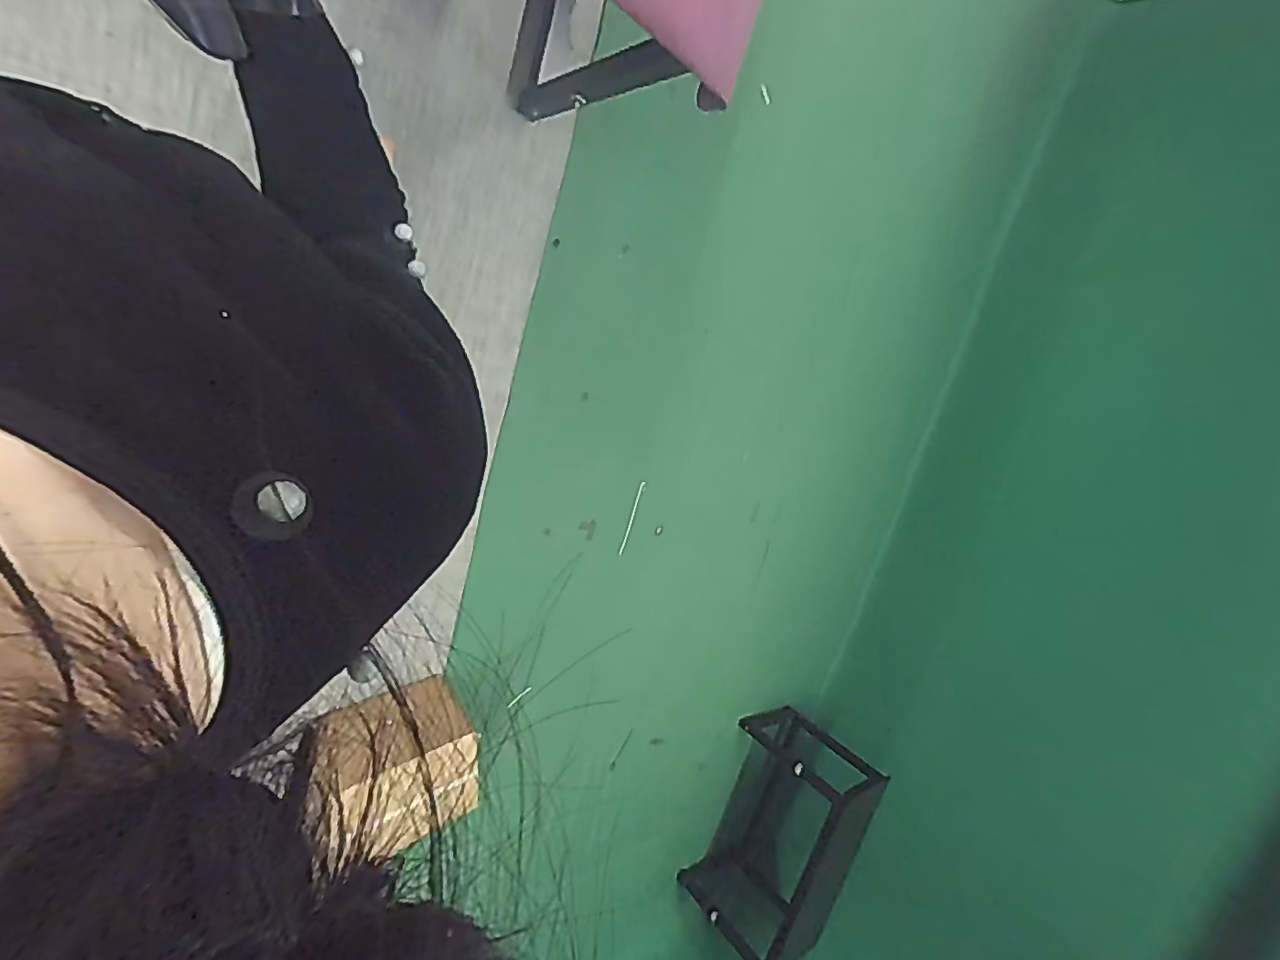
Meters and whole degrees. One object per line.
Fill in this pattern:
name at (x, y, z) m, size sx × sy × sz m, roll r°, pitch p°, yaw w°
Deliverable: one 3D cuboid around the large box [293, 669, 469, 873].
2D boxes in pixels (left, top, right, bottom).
large box at (-0.777, 0.850, 1.643) m, size 0.408 × 0.320 × 0.320 m, roll -11°, pitch 117°, yaw -40°
